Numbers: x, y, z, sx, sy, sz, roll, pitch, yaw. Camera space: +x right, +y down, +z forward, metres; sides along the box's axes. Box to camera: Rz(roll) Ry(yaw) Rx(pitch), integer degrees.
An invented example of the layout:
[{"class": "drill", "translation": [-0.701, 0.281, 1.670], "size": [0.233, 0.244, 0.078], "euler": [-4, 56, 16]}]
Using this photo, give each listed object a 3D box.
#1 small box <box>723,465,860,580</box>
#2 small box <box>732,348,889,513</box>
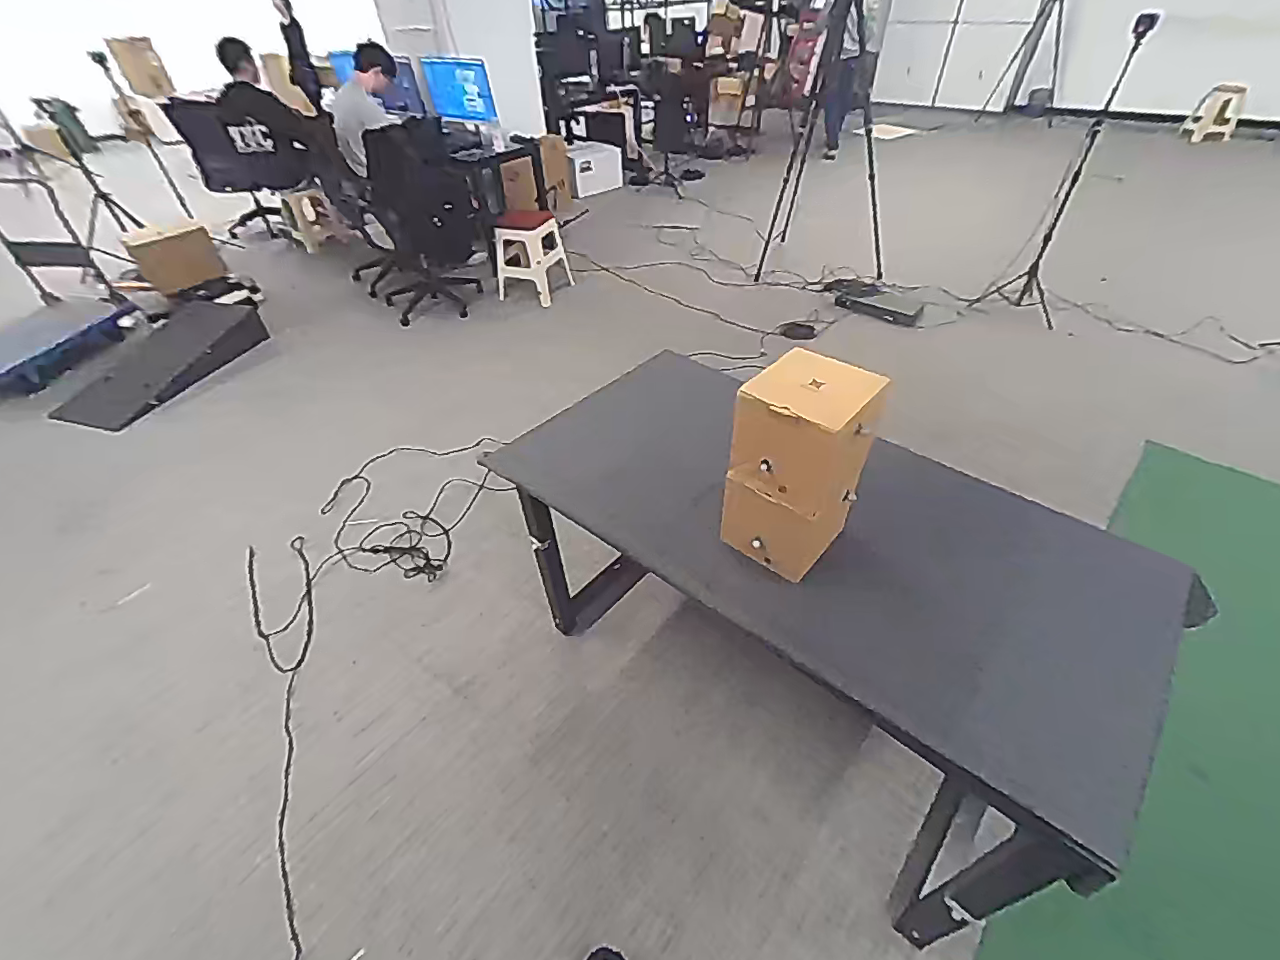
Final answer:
[{"class": "small box", "translation": [0.262, 0.042, 0.973], "size": [0.168, 0.176, 0.179], "euler": [30, 51, 31]}, {"class": "small box", "translation": [0.263, -0.081, 0.868], "size": [0.168, 0.176, 0.179], "euler": [31, 52, 30]}]
